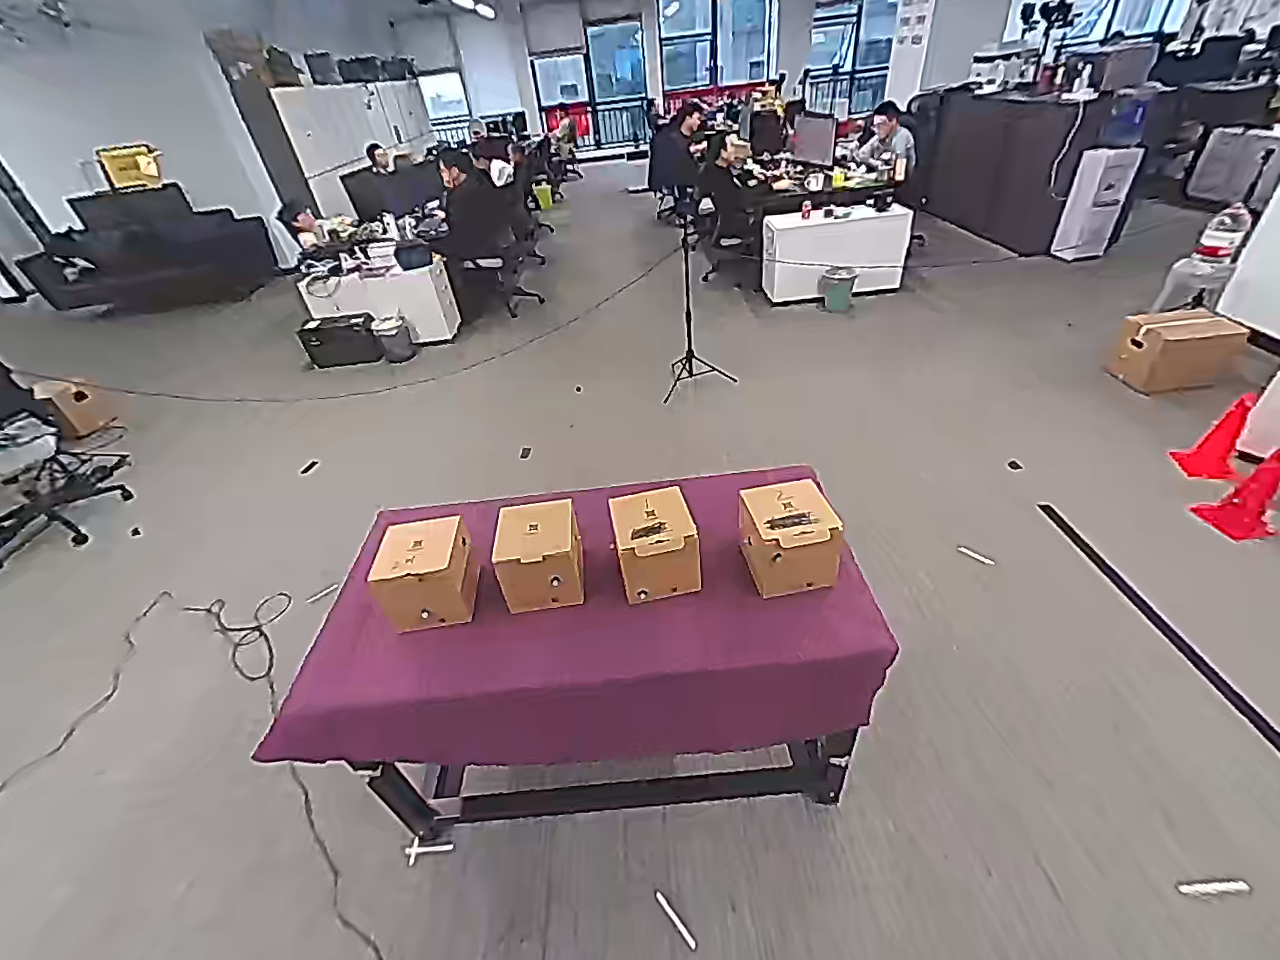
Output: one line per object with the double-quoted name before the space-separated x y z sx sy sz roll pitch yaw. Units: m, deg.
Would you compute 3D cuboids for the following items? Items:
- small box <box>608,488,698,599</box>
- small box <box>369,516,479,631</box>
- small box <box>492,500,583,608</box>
"small box" 0.030 0.147 1.208 0.168 0.176 0.179 -11 37 -5
"small box" -0.469 0.208 1.209 0.168 0.176 0.179 -9 37 -1
"small box" -0.222 0.172 1.219 0.168 0.176 0.179 -7 37 -1
